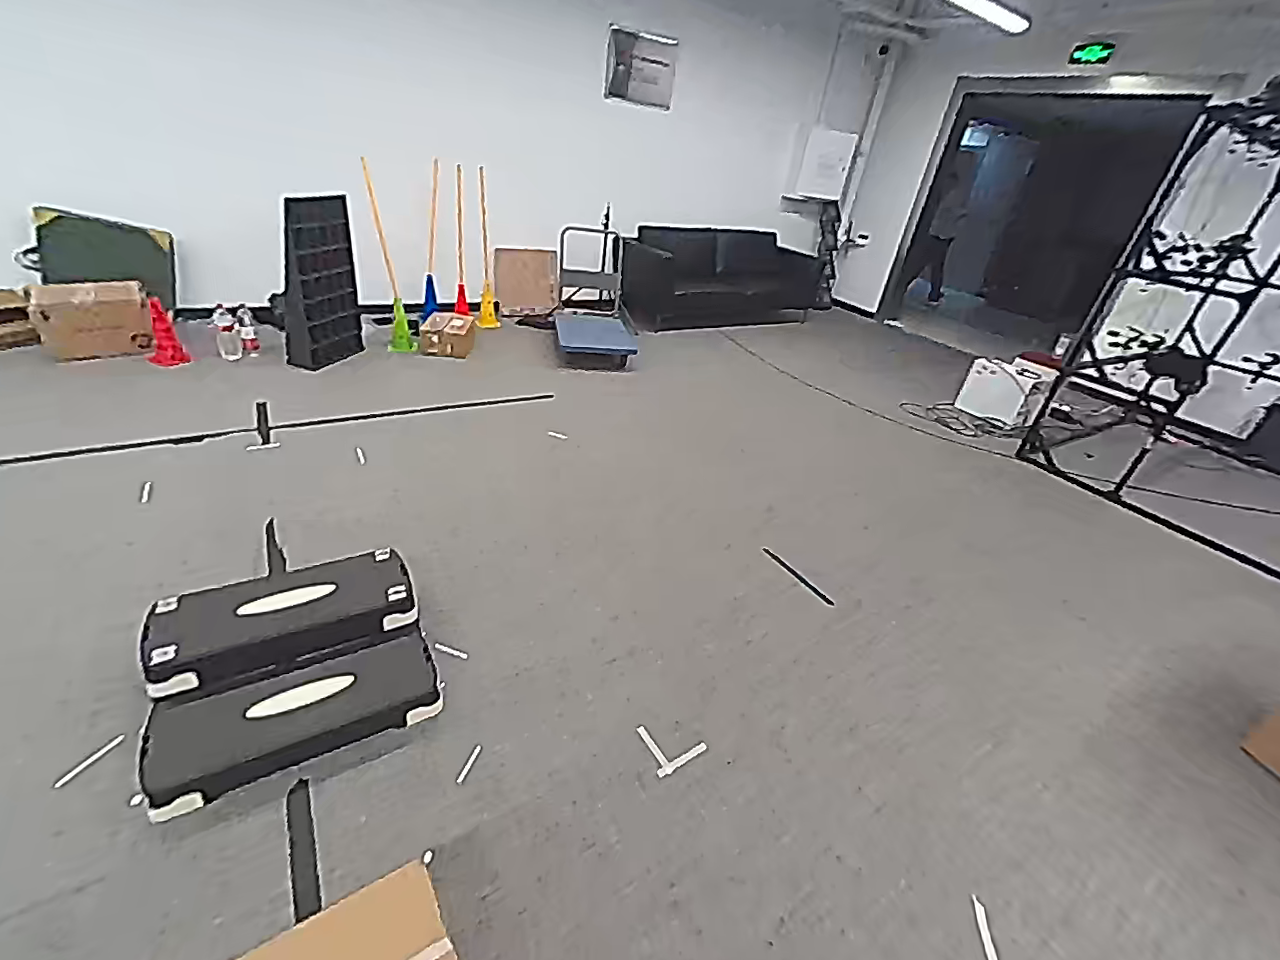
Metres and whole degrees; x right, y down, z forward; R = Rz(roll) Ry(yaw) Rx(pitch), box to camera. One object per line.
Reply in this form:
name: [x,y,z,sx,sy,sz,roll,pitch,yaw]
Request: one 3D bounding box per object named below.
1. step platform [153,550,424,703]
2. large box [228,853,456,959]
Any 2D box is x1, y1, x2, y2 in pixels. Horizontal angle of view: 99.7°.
step platform: [-1.038,0.420,1.662,0.684,0.204,0.286,-8,35,-27]
large box: [-0.501,0.931,0.867,0.408,0.320,0.320,-13,38,-33]
